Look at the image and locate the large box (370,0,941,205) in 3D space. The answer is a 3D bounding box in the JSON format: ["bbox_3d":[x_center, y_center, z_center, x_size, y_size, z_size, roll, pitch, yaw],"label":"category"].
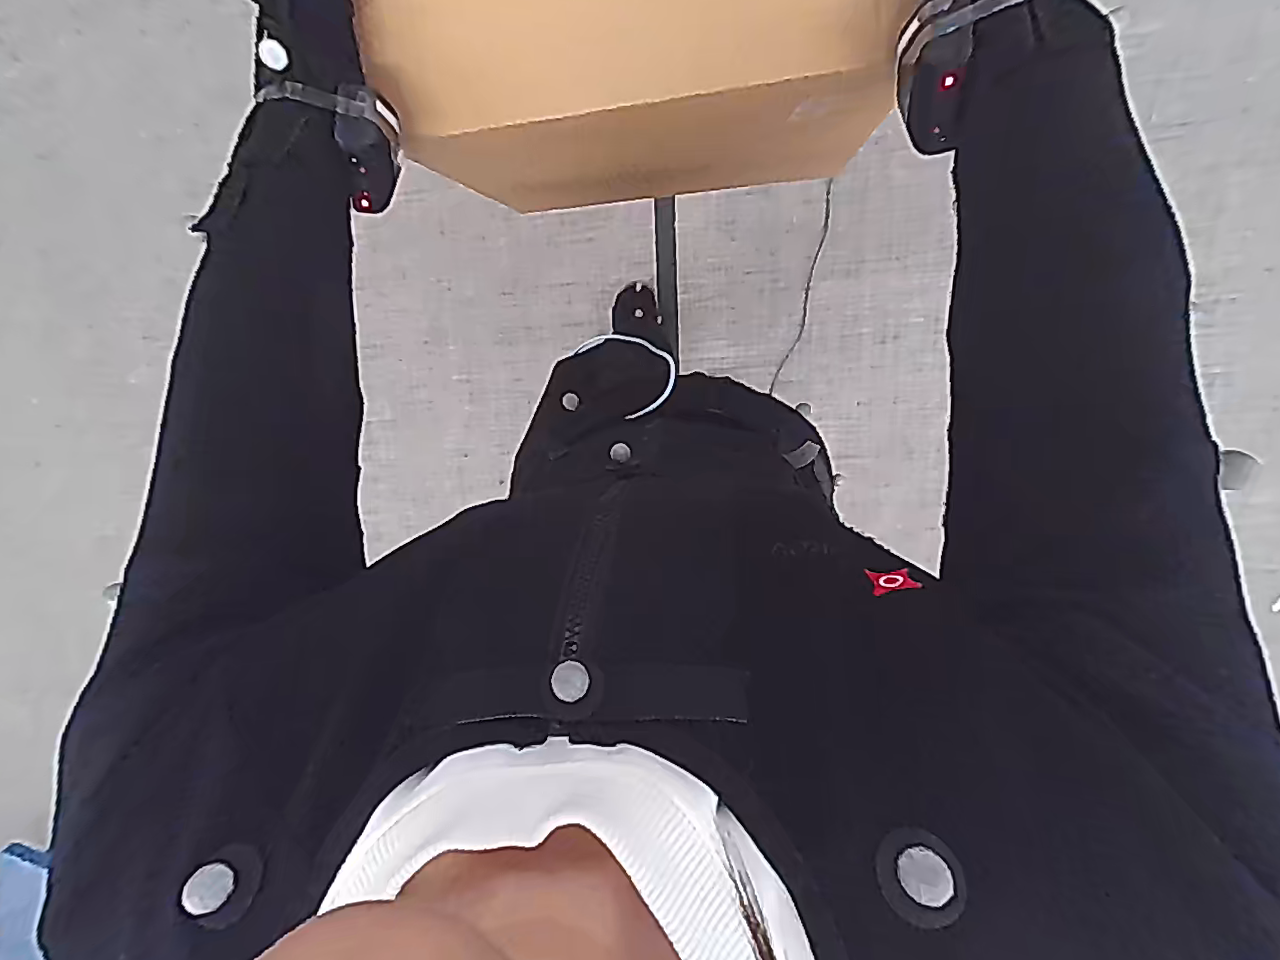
[{"bbox_3d":[0.007,-0.473,0.492,0.408,0.320,0.320,-3,107,9],"label":"large box"}]
